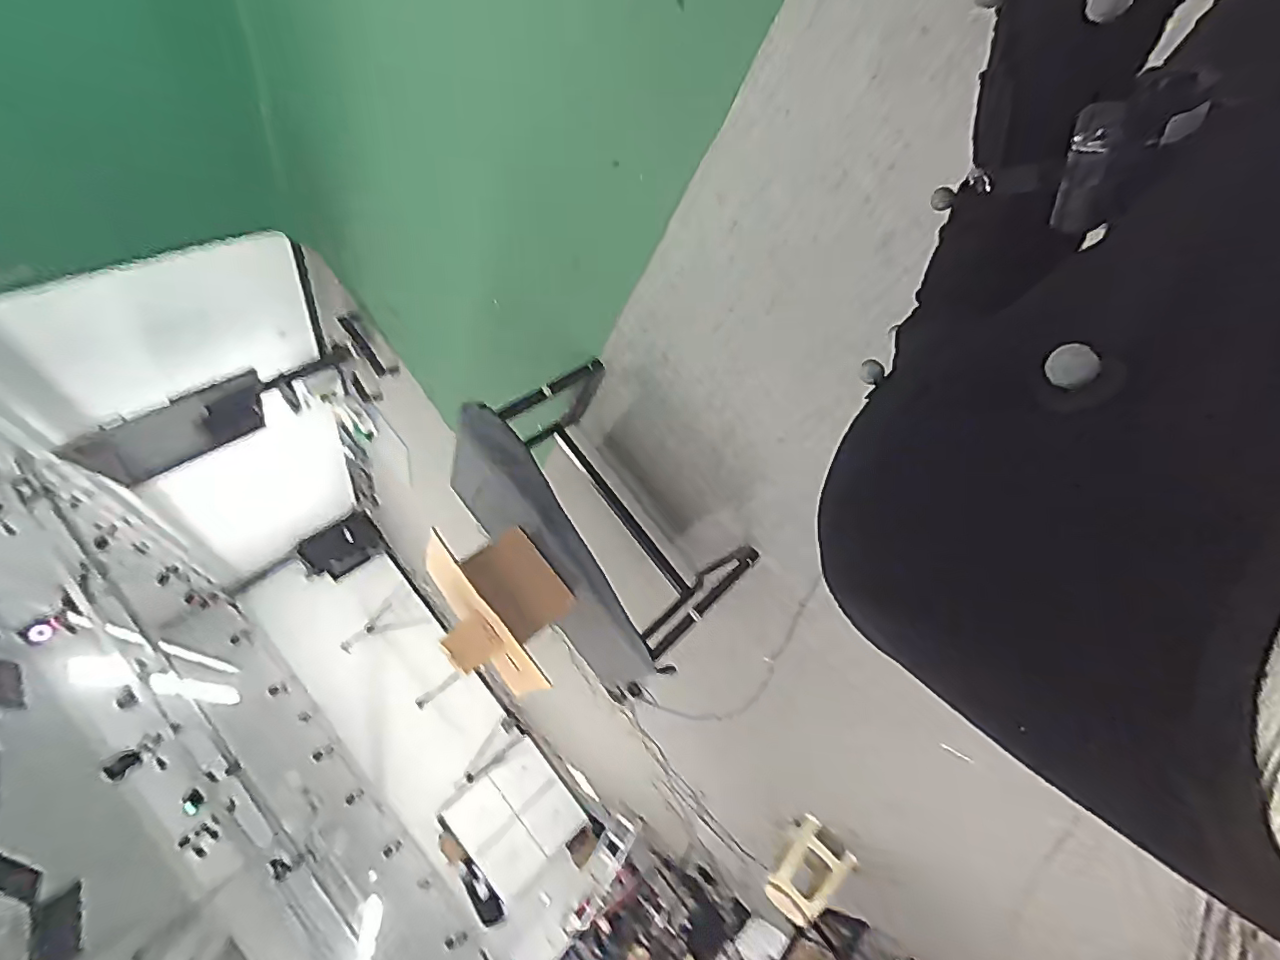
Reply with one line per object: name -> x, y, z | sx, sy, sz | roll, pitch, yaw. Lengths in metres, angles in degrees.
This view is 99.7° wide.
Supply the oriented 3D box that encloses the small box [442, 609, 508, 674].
small box -> -0.619, 0.607, 2.038 | 0.168, 0.176, 0.179 | 51, 149, 4
